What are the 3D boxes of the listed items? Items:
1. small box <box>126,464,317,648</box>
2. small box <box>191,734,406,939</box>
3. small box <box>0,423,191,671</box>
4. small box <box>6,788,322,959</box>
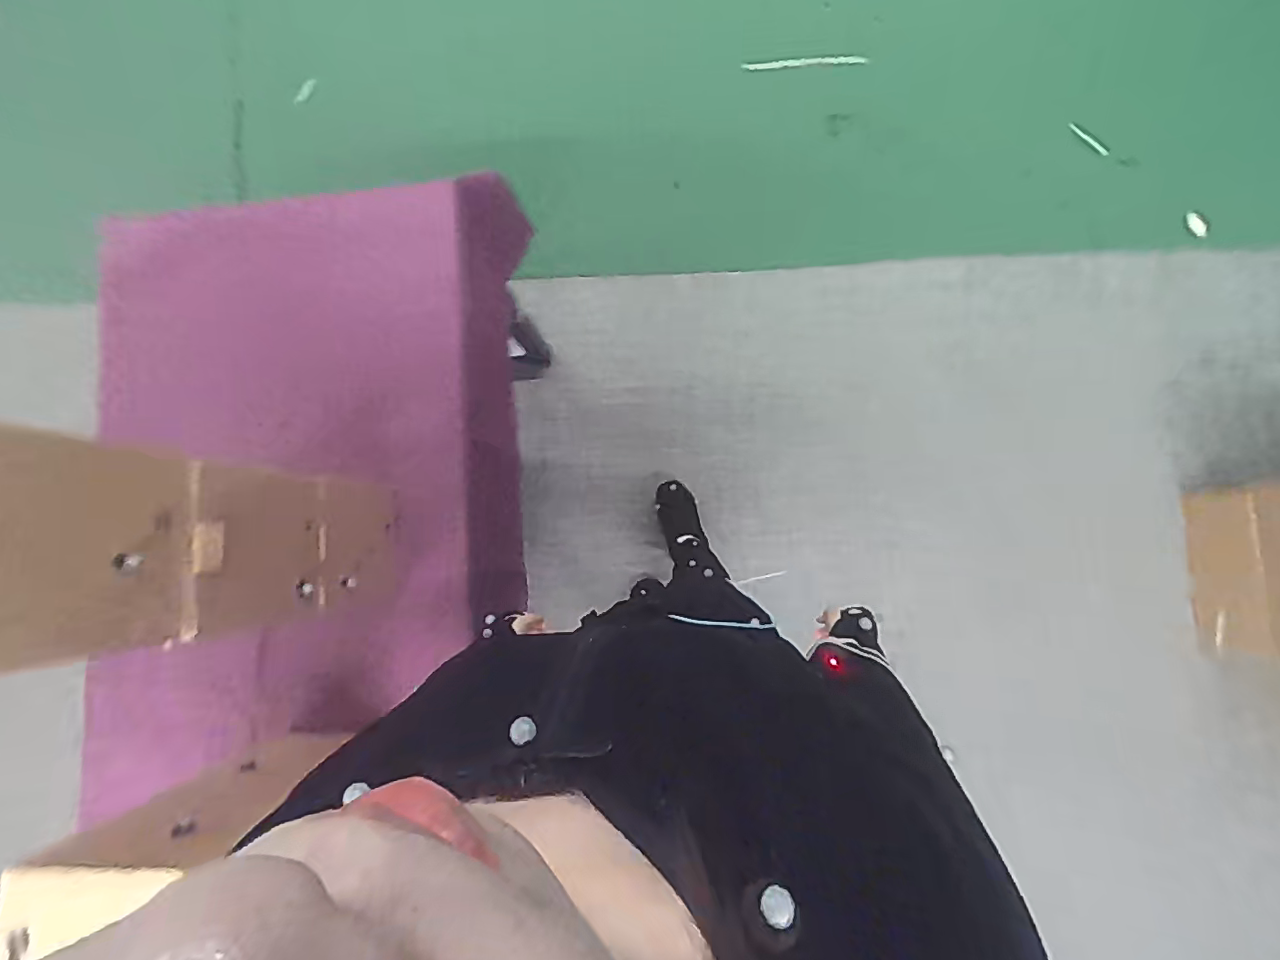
[{"bbox_3d":[-0.473,0.079,0.572,0.179,0.176,0.168,-5,83,5],"label":"small box"},{"bbox_3d":[-0.428,0.440,0.694,0.179,0.176,0.168,-4,84,4],"label":"small box"},{"bbox_3d":[-0.496,0.059,0.412,0.179,0.176,0.168,-6,83,3],"label":"small box"},{"bbox_3d":[-0.444,0.423,0.530,0.179,0.176,0.168,-4,83,4],"label":"small box"}]
